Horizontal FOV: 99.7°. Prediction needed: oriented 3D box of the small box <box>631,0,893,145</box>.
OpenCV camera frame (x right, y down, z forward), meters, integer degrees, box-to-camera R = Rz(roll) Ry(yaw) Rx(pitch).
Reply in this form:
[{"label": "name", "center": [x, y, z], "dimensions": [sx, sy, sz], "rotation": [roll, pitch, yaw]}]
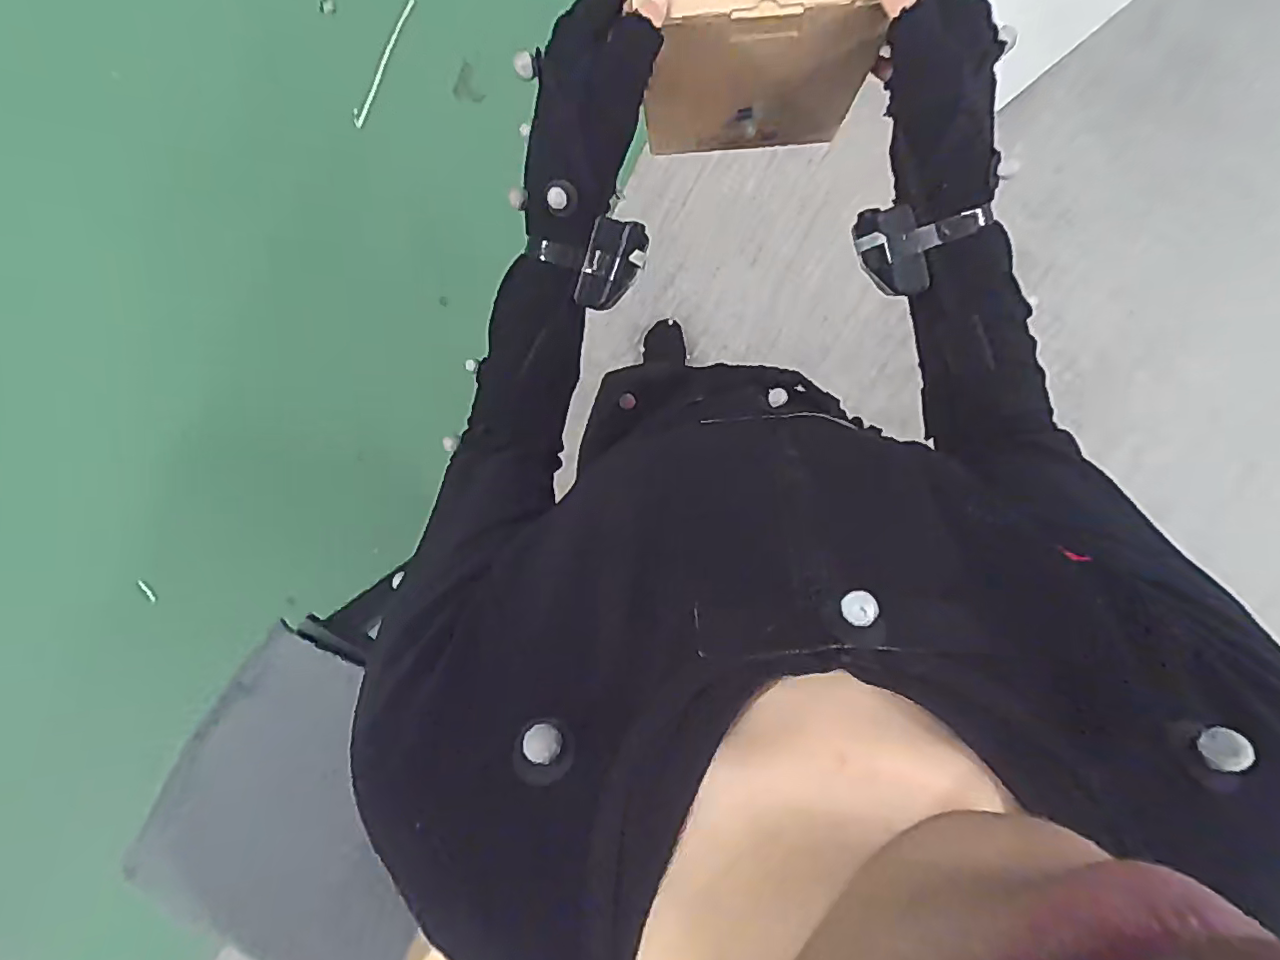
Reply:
[{"label": "small box", "center": [0.080, -0.384, 0.399], "dimensions": [0.168, 0.176, 0.179], "rotation": [0, 96, 6]}]
